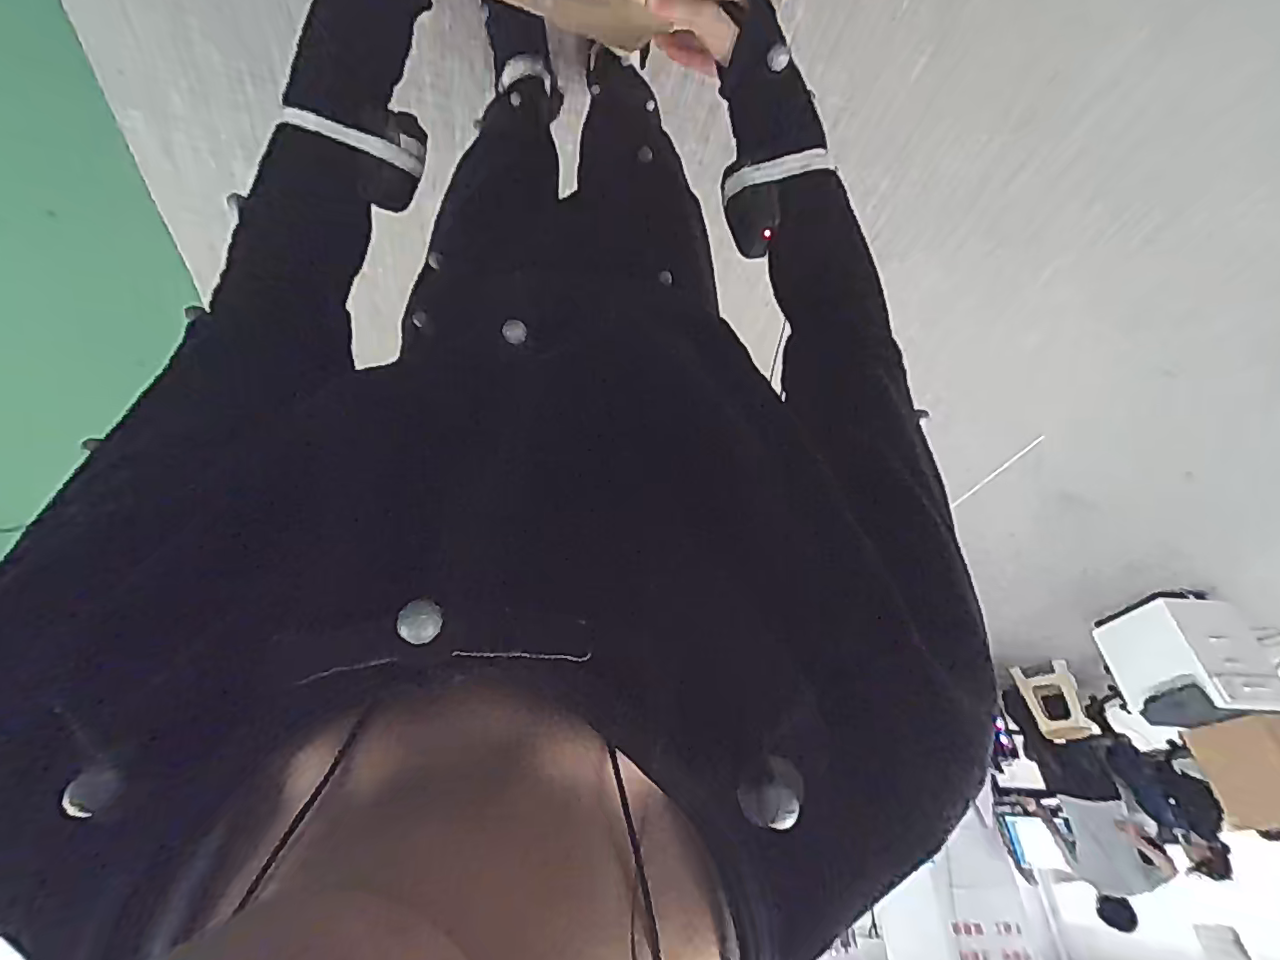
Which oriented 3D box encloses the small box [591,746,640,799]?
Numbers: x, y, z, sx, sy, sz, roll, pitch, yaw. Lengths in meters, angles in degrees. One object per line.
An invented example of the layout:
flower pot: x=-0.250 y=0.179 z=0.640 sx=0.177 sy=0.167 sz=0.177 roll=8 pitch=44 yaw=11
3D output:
small box: x=-0.096 y=1.157 z=2.136 sx=0.168 sy=0.176 sz=0.179 roll=8 pitch=145 yaw=-8

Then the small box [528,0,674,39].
small box: x=-0.049 y=-0.489 z=0.430 sx=0.179 sy=0.176 sz=0.168 roll=9 pitch=118 yaw=-20
